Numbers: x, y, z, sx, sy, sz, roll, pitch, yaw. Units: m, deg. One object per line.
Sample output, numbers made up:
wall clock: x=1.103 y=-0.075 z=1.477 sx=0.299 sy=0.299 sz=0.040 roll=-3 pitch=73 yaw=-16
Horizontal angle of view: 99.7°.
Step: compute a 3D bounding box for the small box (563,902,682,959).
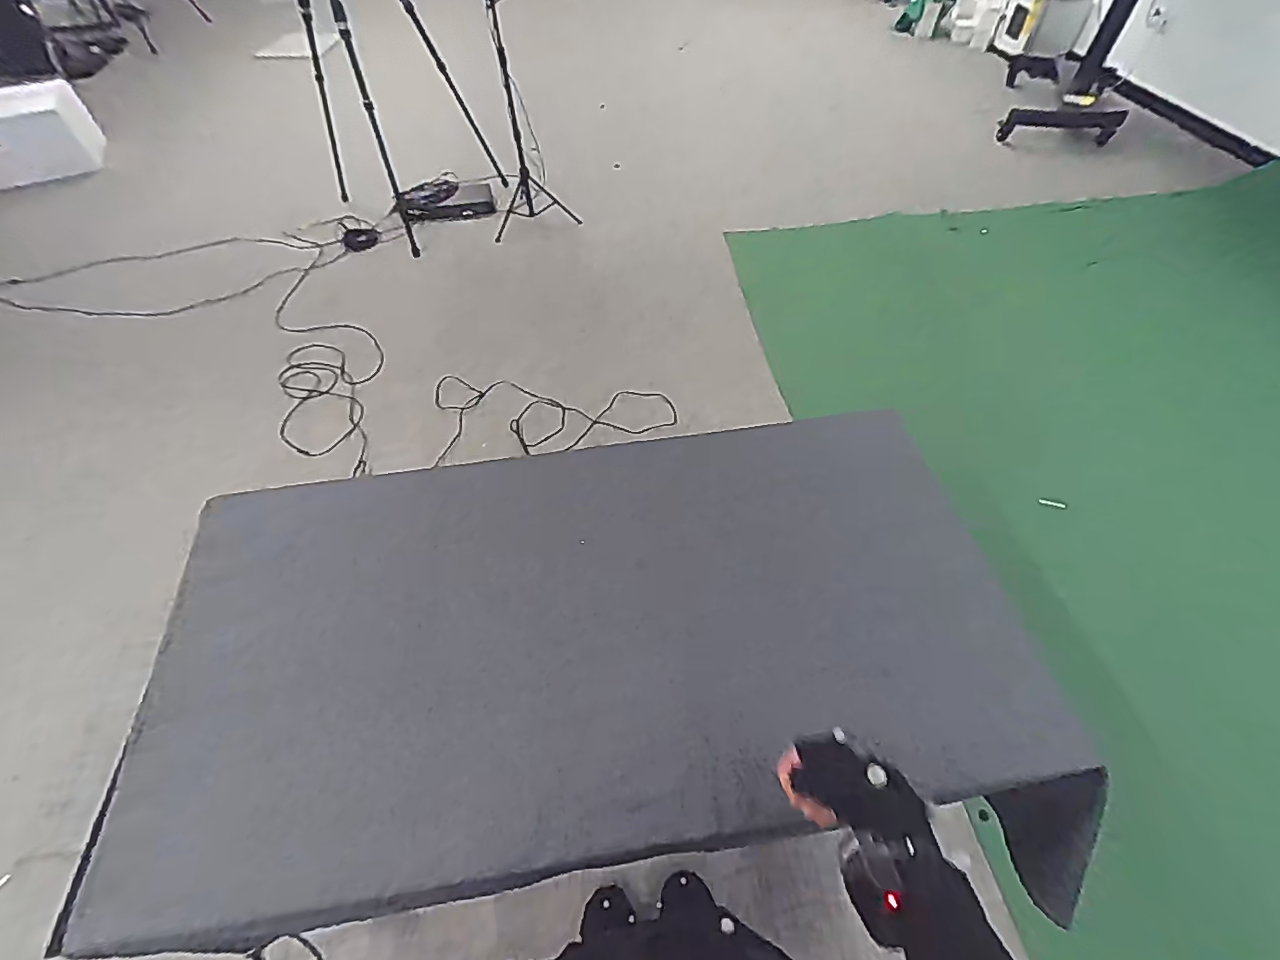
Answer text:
small box: x=-0.048 y=0.956 z=1.041 sx=0.179 sy=0.176 sz=0.168 roll=14 pitch=65 yaw=32
